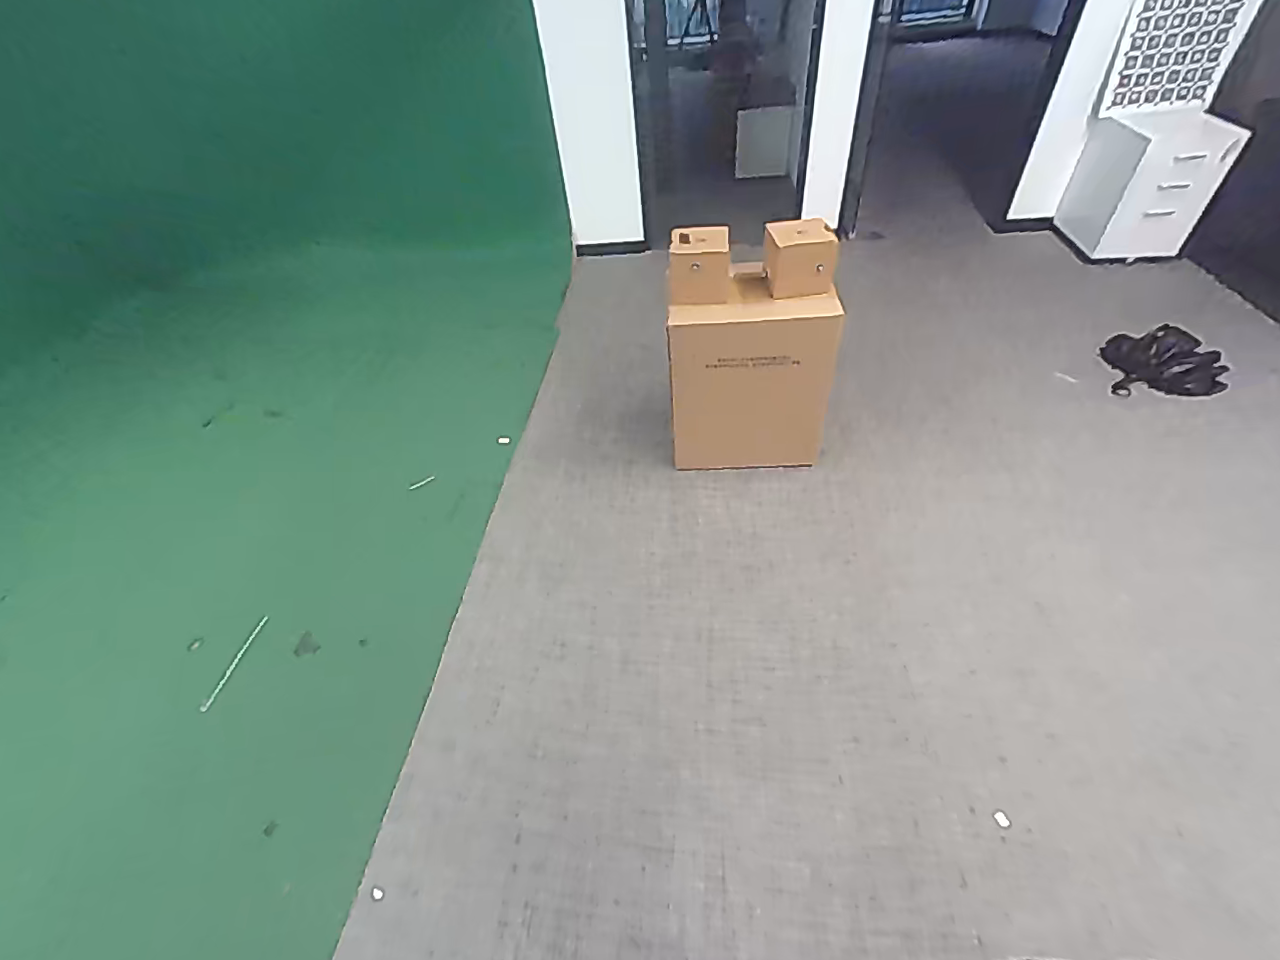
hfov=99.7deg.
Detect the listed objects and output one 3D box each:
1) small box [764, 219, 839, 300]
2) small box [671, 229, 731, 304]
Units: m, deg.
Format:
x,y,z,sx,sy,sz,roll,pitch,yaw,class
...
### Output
x,y,z,sx,sy,sz,roll,pitch,yaw,class
0.494,-0.682,1.678,0.179,0.176,0.168,-8,46,2,small box
0.196,-0.668,1.704,0.179,0.176,0.168,1,49,8,small box
